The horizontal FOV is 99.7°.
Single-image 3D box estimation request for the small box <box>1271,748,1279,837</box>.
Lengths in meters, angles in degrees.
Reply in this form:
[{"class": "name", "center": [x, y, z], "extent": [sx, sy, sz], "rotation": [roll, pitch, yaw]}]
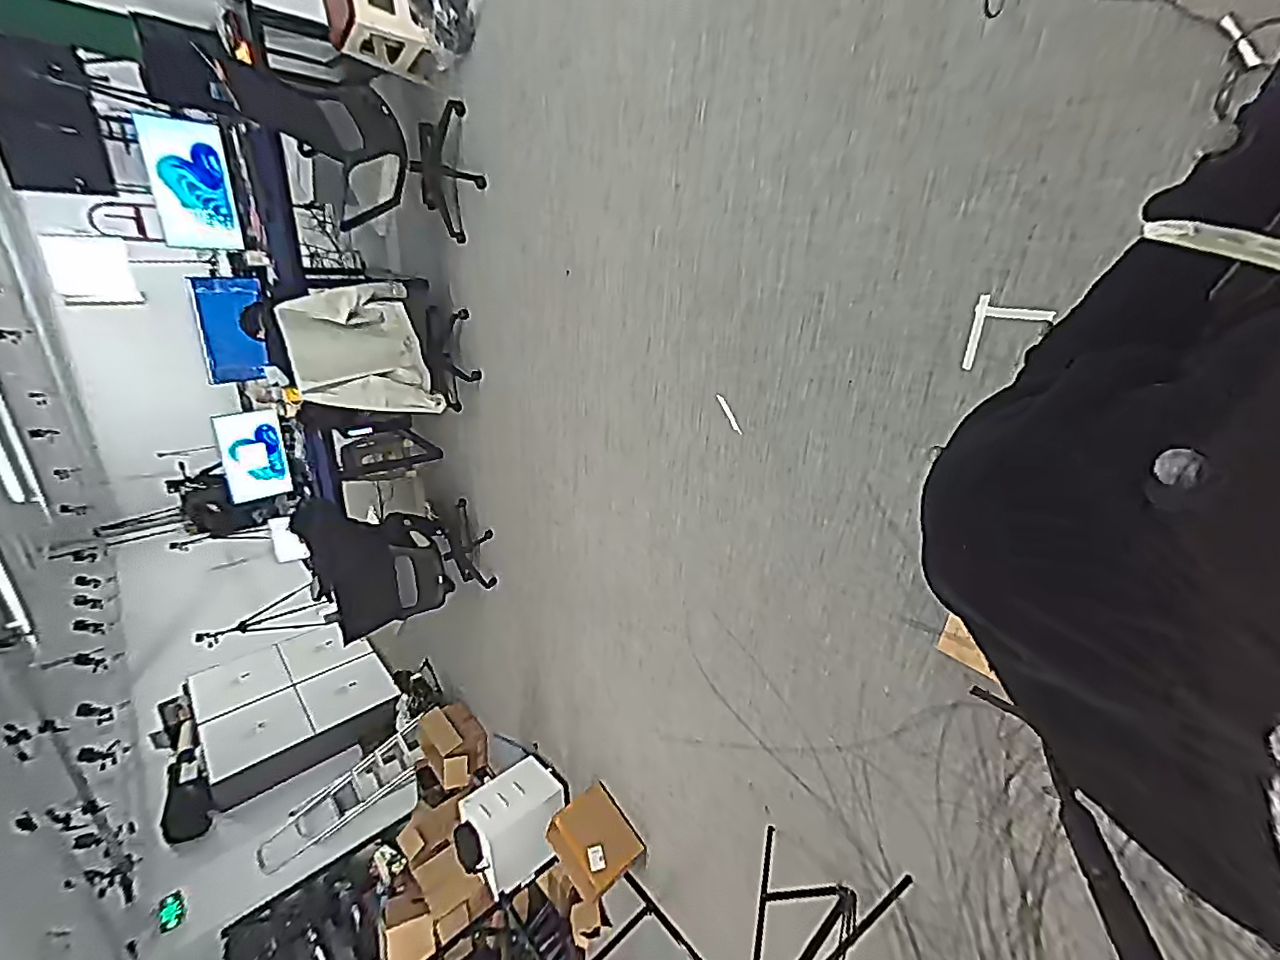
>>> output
[{"class": "small box", "center": [1.287, 0.572, 0.970], "extent": [0.179, 0.176, 0.168], "rotation": [11, 111, 45]}]
